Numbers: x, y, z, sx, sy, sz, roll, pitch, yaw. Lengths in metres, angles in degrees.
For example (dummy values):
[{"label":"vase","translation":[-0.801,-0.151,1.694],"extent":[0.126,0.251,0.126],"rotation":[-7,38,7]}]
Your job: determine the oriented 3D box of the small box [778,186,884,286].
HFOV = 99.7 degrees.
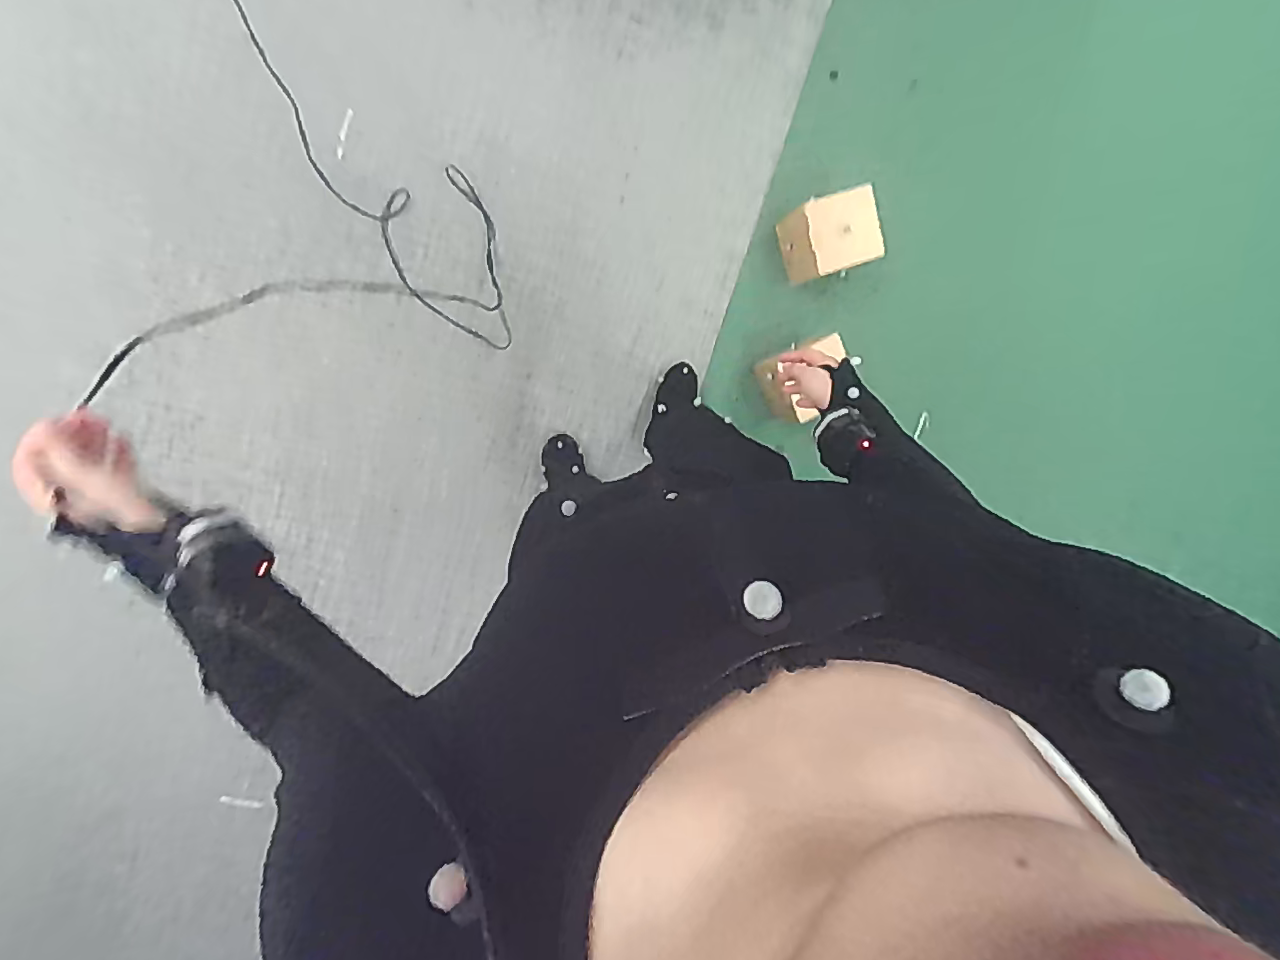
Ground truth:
[{"label":"small box","translation":[0.474,-0.602,1.354],"extent":[0.179,0.176,0.168],"rotation":[-19,102,-3]}]
